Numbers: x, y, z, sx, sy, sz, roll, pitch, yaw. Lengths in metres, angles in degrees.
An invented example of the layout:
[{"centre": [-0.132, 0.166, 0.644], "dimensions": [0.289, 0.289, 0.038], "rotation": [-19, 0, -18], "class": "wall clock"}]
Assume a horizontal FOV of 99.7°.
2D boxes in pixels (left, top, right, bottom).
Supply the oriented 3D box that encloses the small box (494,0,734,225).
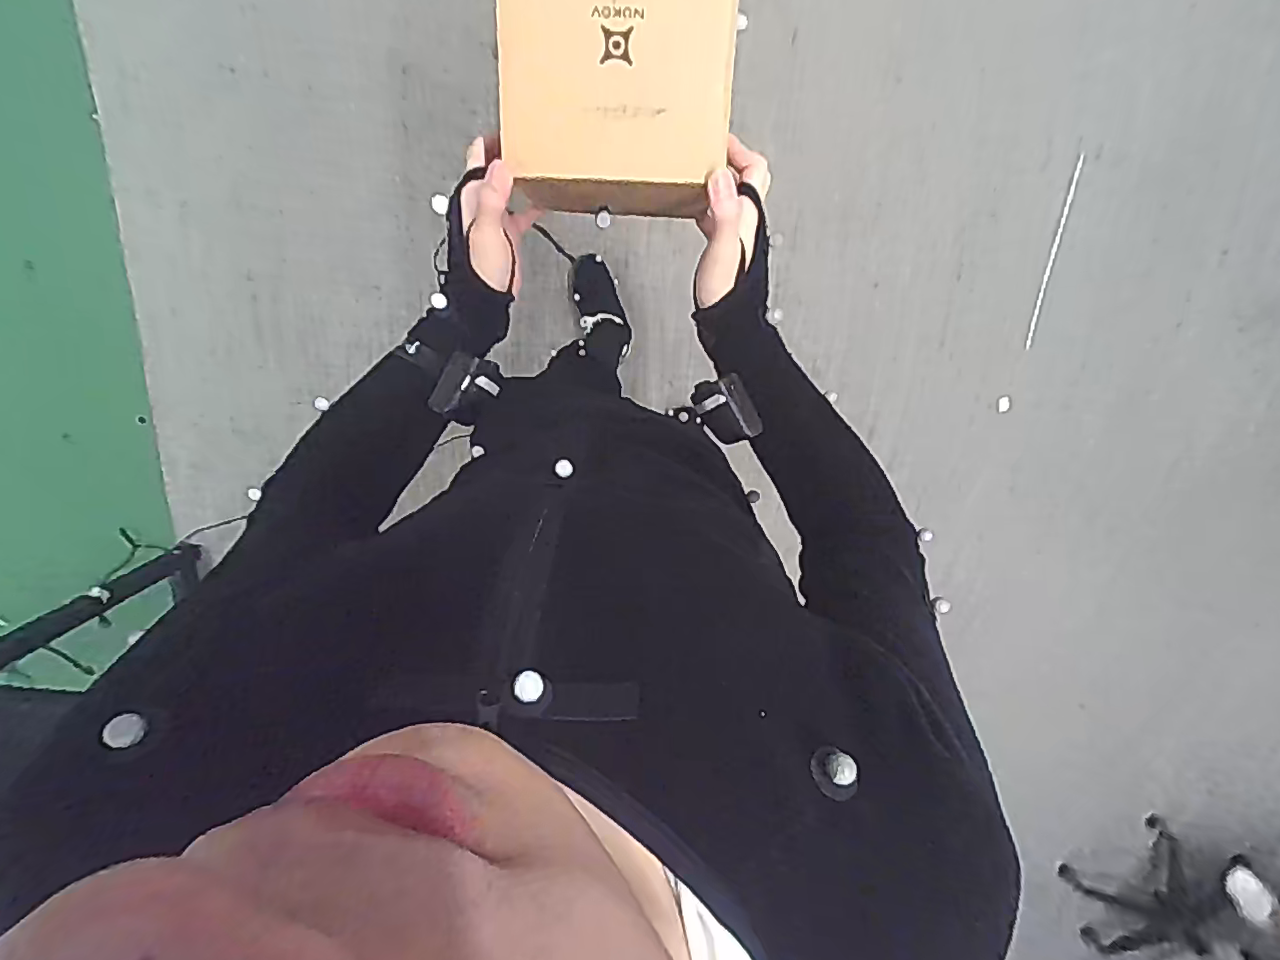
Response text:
[{"centre": [-0.018, -0.325, 0.449], "dimensions": [0.168, 0.176, 0.179], "rotation": [3, 107, 1], "class": "small box"}]
